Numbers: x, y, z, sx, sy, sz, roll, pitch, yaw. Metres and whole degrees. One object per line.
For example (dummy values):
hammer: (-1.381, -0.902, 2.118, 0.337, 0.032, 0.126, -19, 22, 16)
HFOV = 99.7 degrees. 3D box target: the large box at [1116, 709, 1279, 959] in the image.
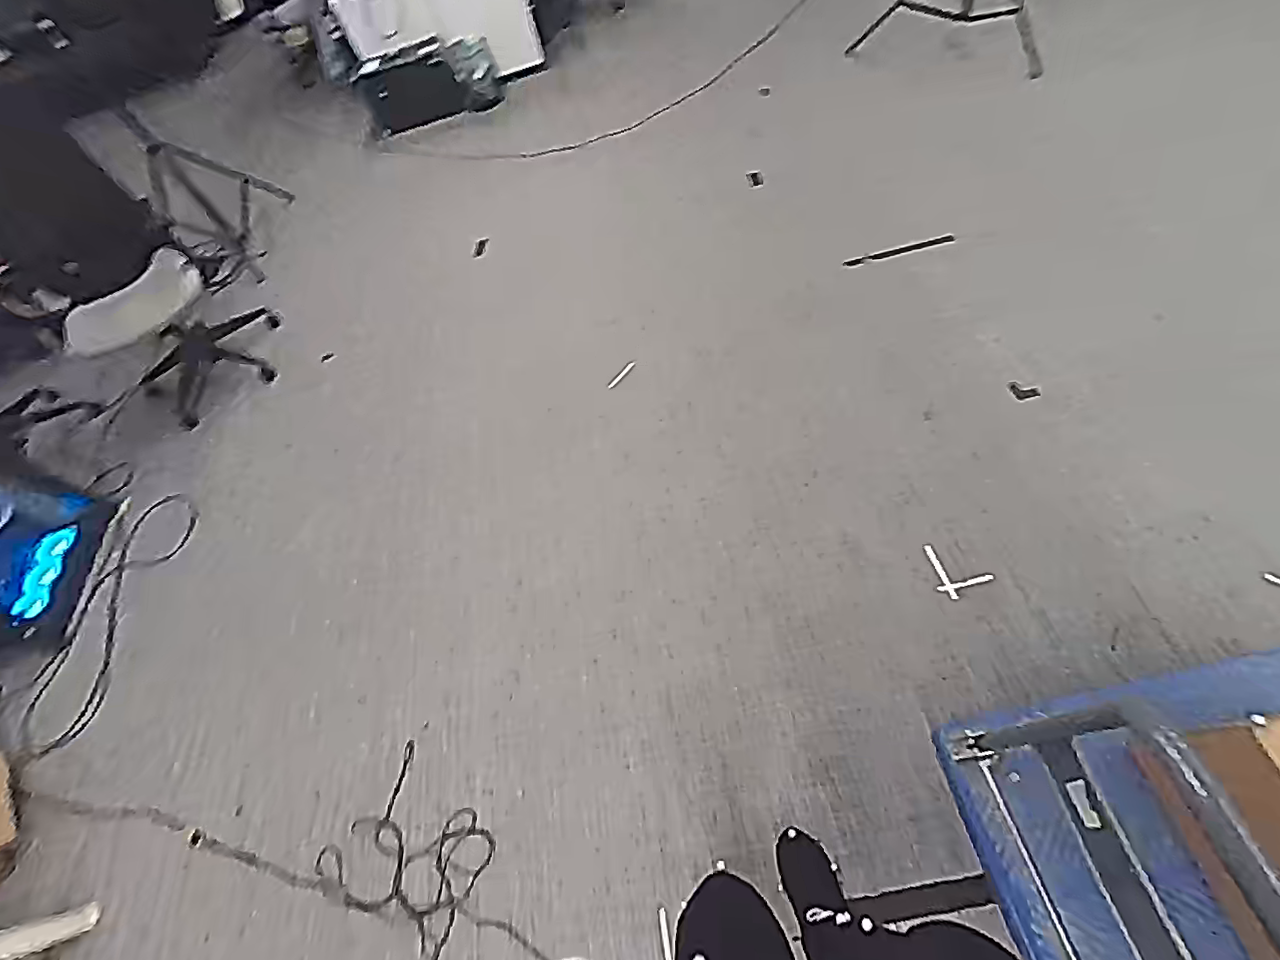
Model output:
large box: (1.054, 0.559, 0.791, 0.320, 0.320, 0.408, -14, 56, 3)
